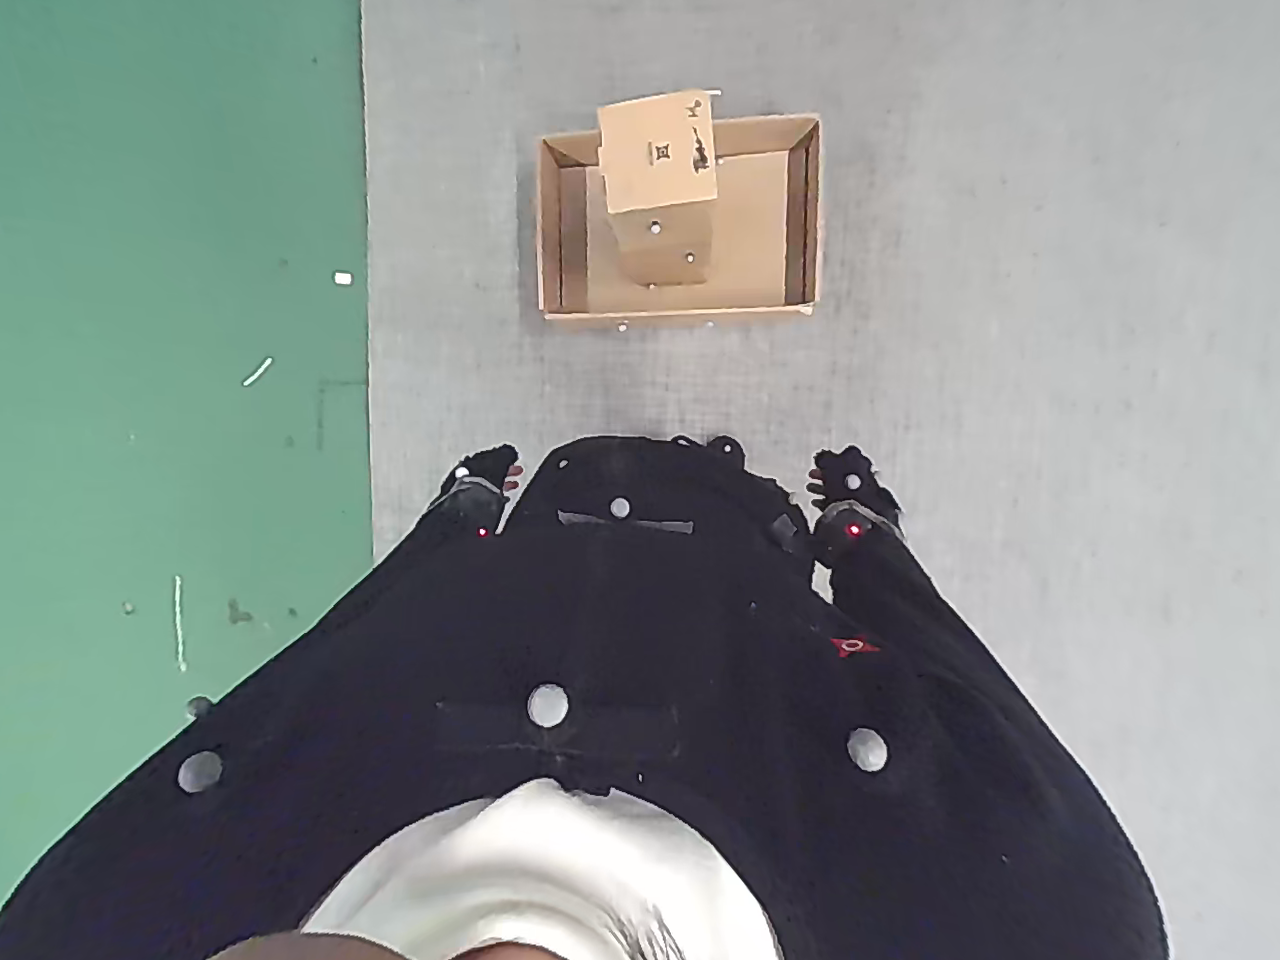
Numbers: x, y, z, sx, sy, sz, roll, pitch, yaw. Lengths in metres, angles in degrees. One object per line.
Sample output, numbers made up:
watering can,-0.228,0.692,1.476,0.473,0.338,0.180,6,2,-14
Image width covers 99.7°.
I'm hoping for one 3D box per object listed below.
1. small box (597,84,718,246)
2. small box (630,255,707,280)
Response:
small box,0.037,-0.518,0.917,0.179,0.176,0.168,-7,92,7
small box,0.069,-0.564,1.235,0.168,0.176,0.179,0,96,7
